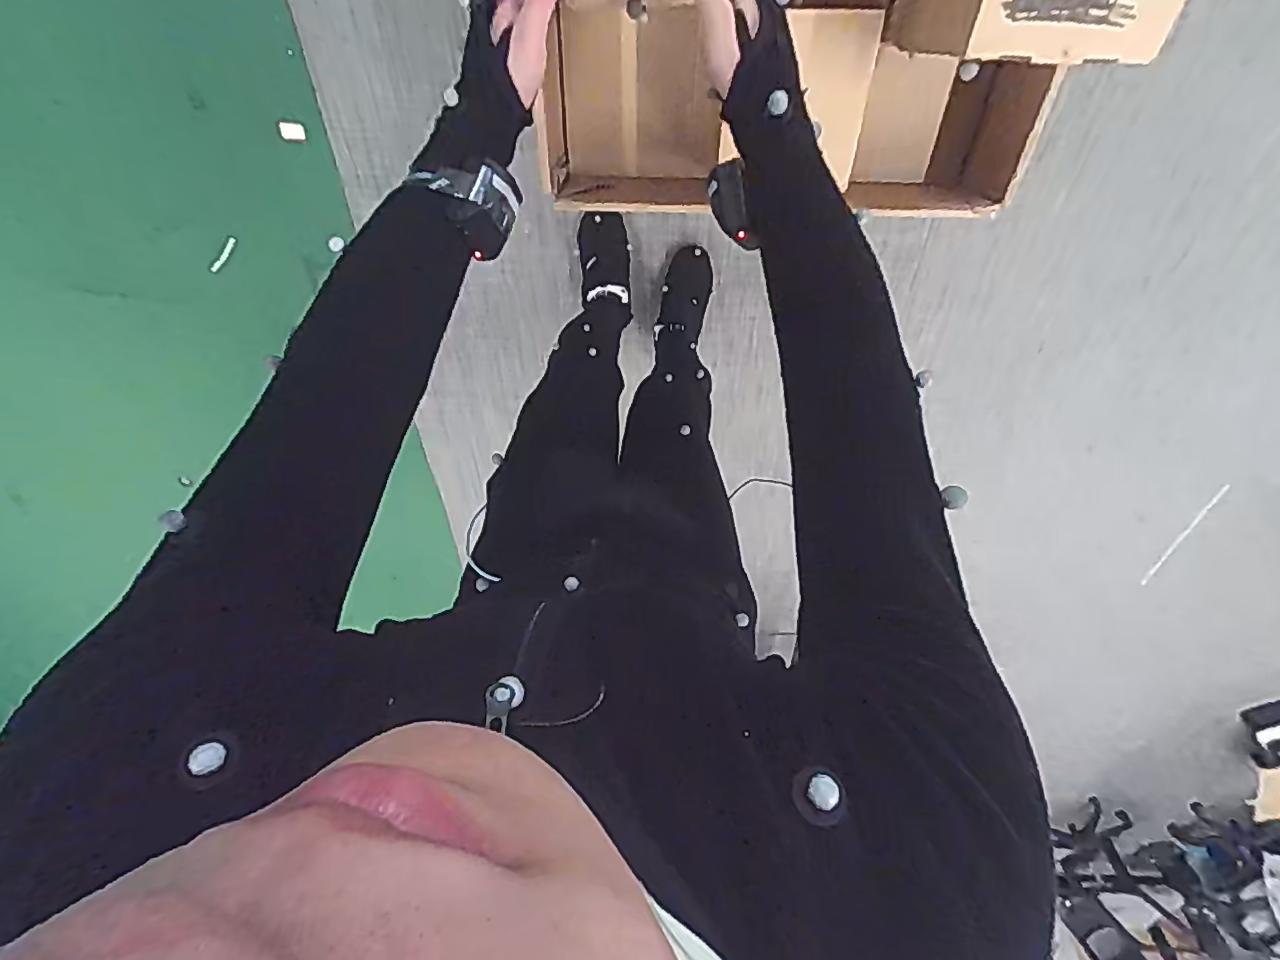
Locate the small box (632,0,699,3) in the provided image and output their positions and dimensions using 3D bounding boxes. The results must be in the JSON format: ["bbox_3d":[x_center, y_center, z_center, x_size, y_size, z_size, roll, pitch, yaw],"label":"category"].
[{"bbox_3d":[-0.002,-0.507,0.441,0.179,0.176,0.168,2,128,0],"label":"small box"}]
